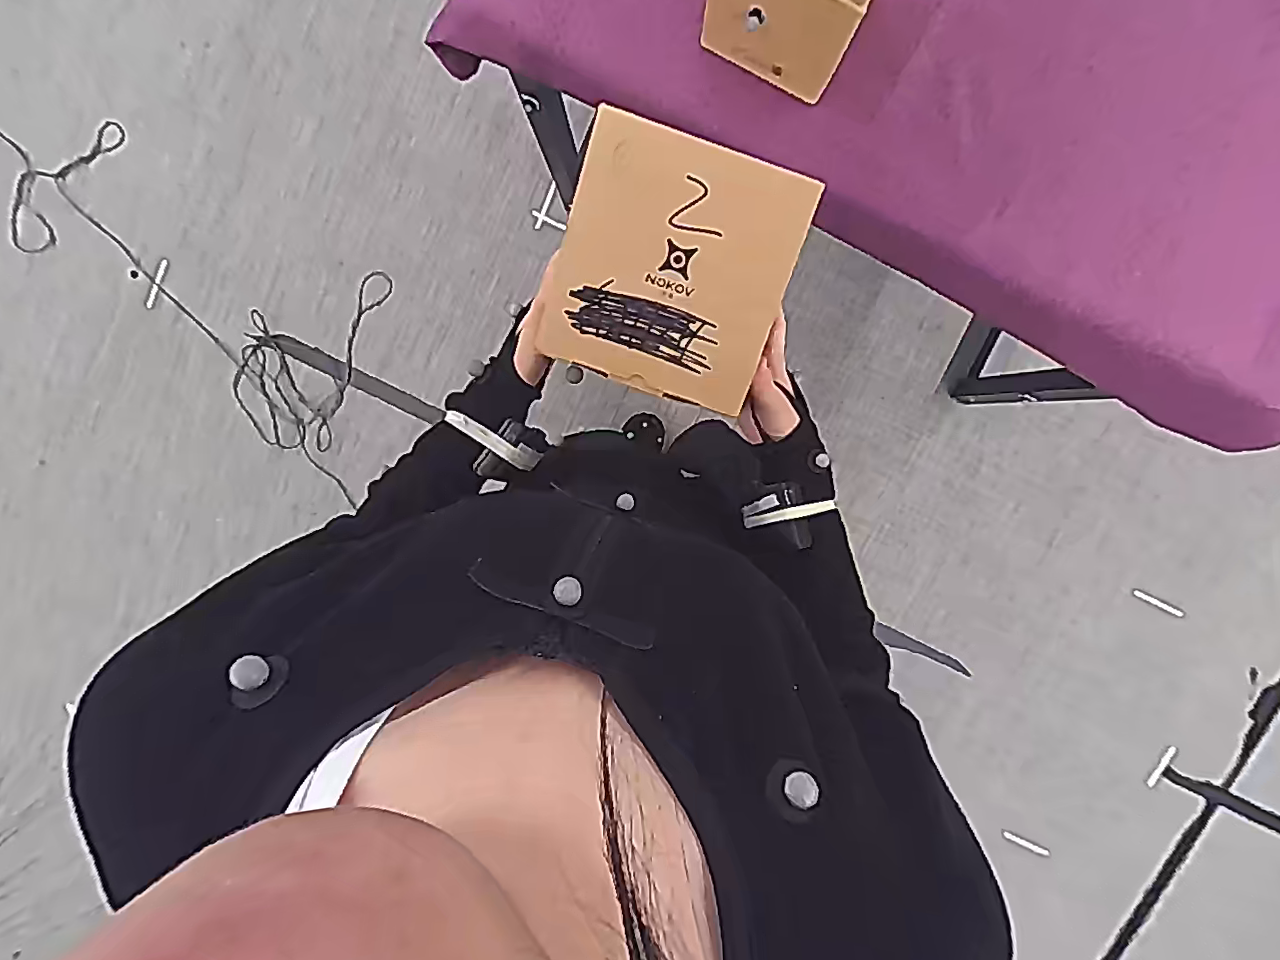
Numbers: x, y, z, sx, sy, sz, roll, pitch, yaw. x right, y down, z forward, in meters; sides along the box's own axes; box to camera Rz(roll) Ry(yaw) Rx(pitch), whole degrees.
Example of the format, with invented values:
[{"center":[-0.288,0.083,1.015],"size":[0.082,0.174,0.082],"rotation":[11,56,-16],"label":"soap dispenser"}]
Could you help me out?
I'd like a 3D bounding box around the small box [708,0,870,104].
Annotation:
[{"center":[0.188,-0.583,0.613],"size":[0.168,0.176,0.179],"rotation":[26,95,-3],"label":"small box"}]
